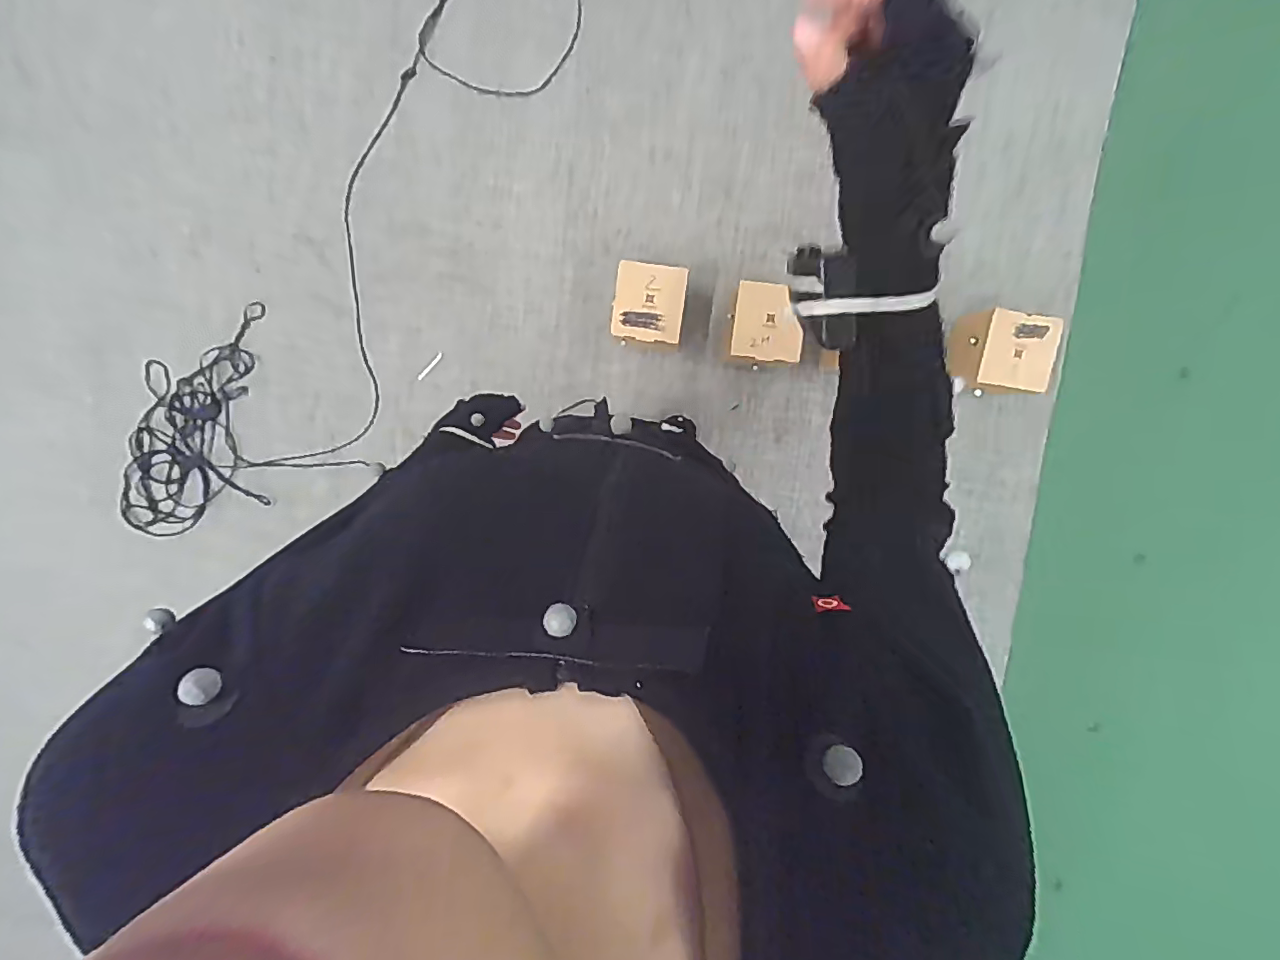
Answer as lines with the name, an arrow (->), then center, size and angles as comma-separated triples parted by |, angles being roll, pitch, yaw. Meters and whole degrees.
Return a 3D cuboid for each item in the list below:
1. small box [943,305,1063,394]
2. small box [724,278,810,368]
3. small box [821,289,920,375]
small box -> 0.882, -0.314, 1.331 | 0.168, 0.176, 0.179 | 10, 98, 1
small box -> 0.305, -0.380, 1.337 | 0.168, 0.176, 0.179 | 7, 97, 2
small box -> 0.559, -0.357, 1.336 | 0.168, 0.176, 0.179 | 5, 96, 1
